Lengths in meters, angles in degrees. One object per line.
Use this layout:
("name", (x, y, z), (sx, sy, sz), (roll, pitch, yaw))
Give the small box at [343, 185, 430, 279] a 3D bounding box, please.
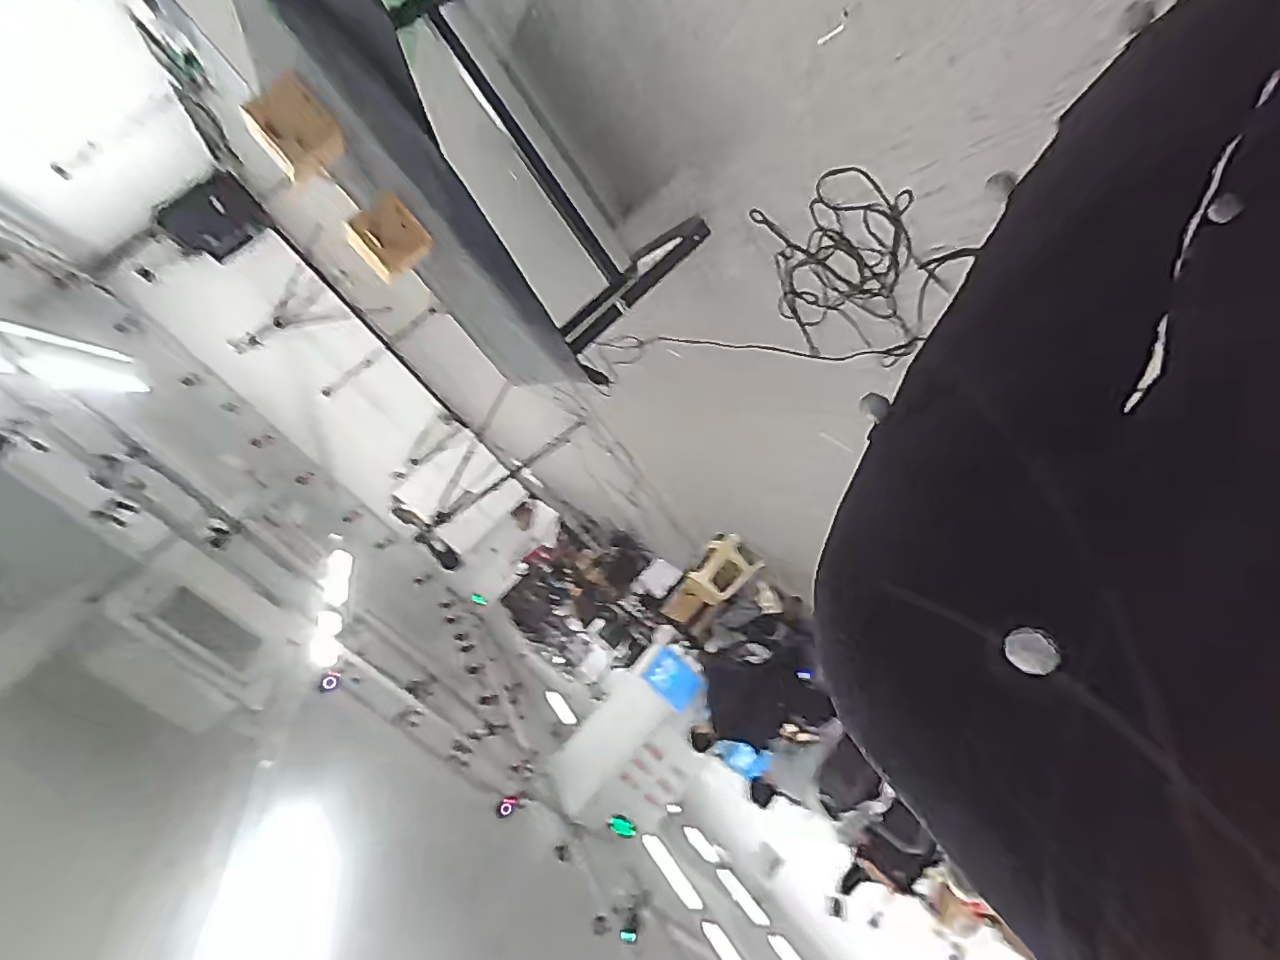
("small box", (-0.749, -0.731, 1.603), (0.168, 0.176, 0.179), (51, 163, -22))
